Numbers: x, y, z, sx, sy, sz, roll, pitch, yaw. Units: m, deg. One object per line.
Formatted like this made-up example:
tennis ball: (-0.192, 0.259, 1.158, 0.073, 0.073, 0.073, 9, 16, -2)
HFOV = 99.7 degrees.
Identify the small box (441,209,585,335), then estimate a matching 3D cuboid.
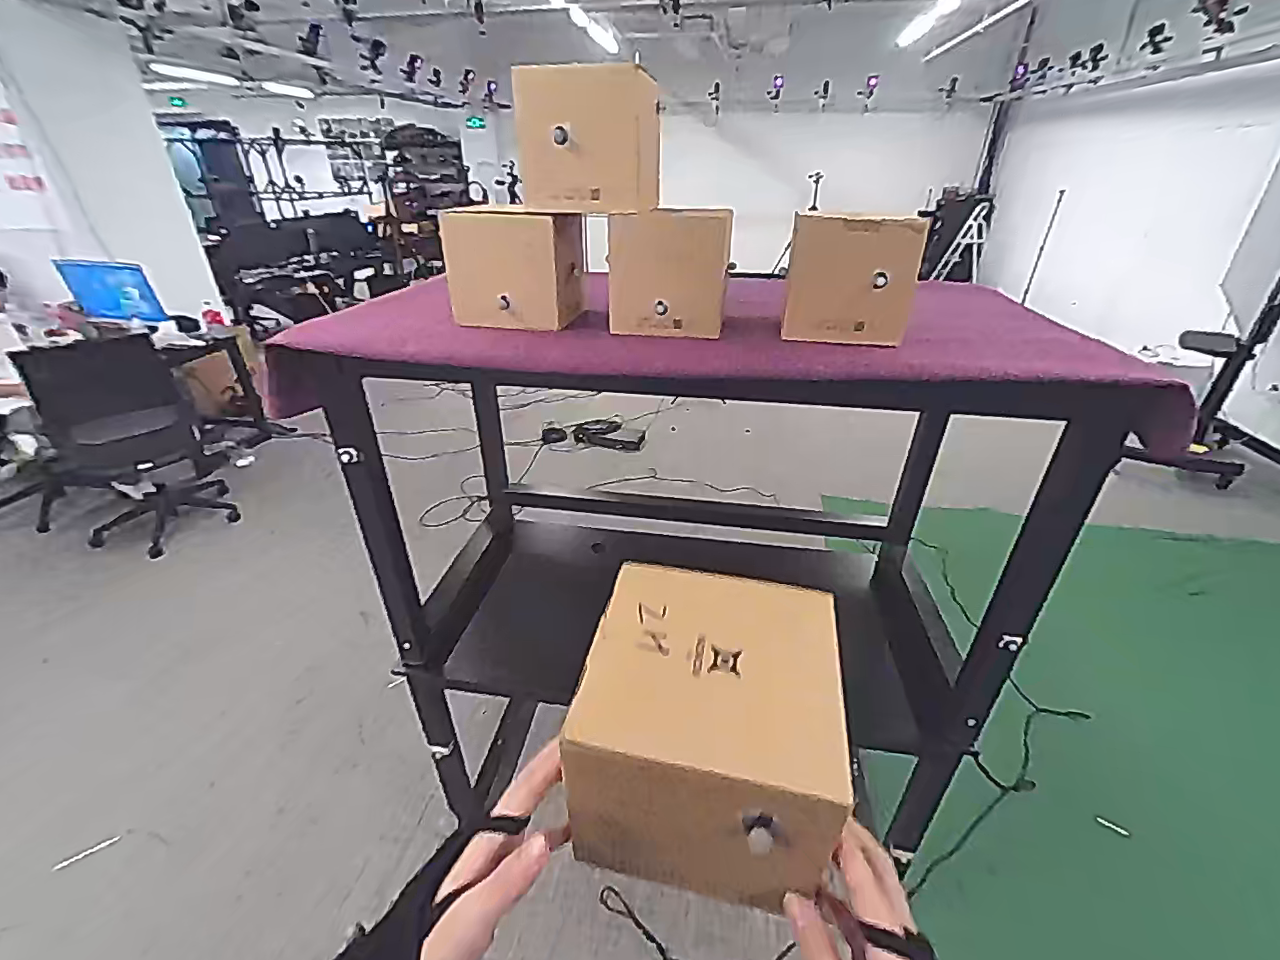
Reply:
small box: (-0.193, -0.340, 0.881, 0.179, 0.176, 0.168, 6, 30, 8)

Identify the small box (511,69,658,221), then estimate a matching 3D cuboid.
small box: (-0.066, -0.471, 0.780, 0.168, 0.176, 0.179, 5, 29, 10)

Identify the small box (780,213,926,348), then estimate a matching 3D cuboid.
small box: (0.305, -0.301, 0.809, 0.168, 0.176, 0.179, 7, 29, 12)

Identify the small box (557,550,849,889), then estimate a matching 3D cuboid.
small box: (0.052, 0.182, 0.424, 0.179, 0.176, 0.168, 7, 35, 12)
